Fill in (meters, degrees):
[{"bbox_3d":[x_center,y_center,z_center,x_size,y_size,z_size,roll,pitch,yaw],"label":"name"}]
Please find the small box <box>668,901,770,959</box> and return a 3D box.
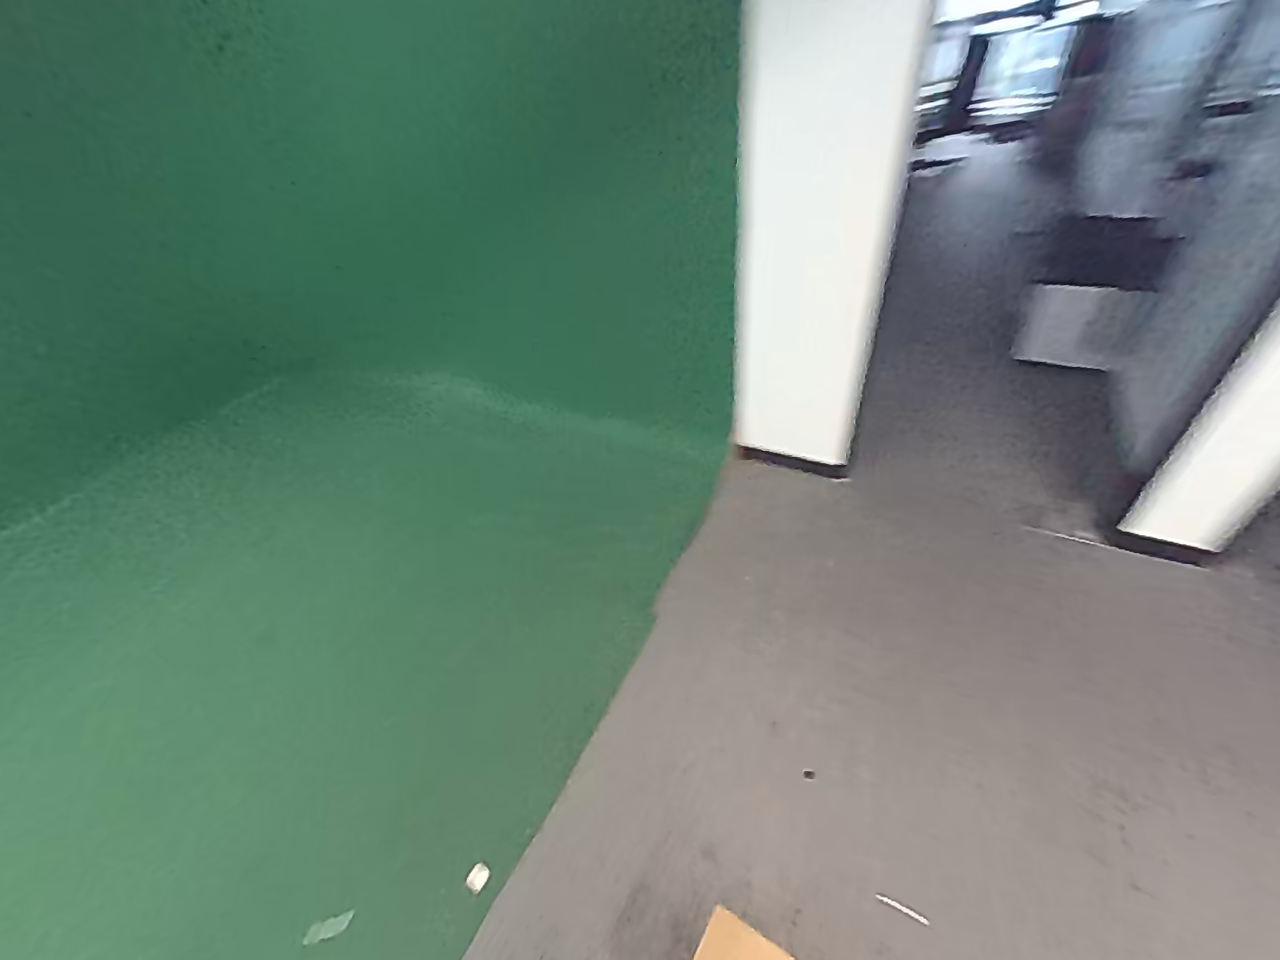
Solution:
[{"bbox_3d":[0.167,0.953,1.022,0.168,0.176,0.179,-22,43,-14],"label":"small box"}]
